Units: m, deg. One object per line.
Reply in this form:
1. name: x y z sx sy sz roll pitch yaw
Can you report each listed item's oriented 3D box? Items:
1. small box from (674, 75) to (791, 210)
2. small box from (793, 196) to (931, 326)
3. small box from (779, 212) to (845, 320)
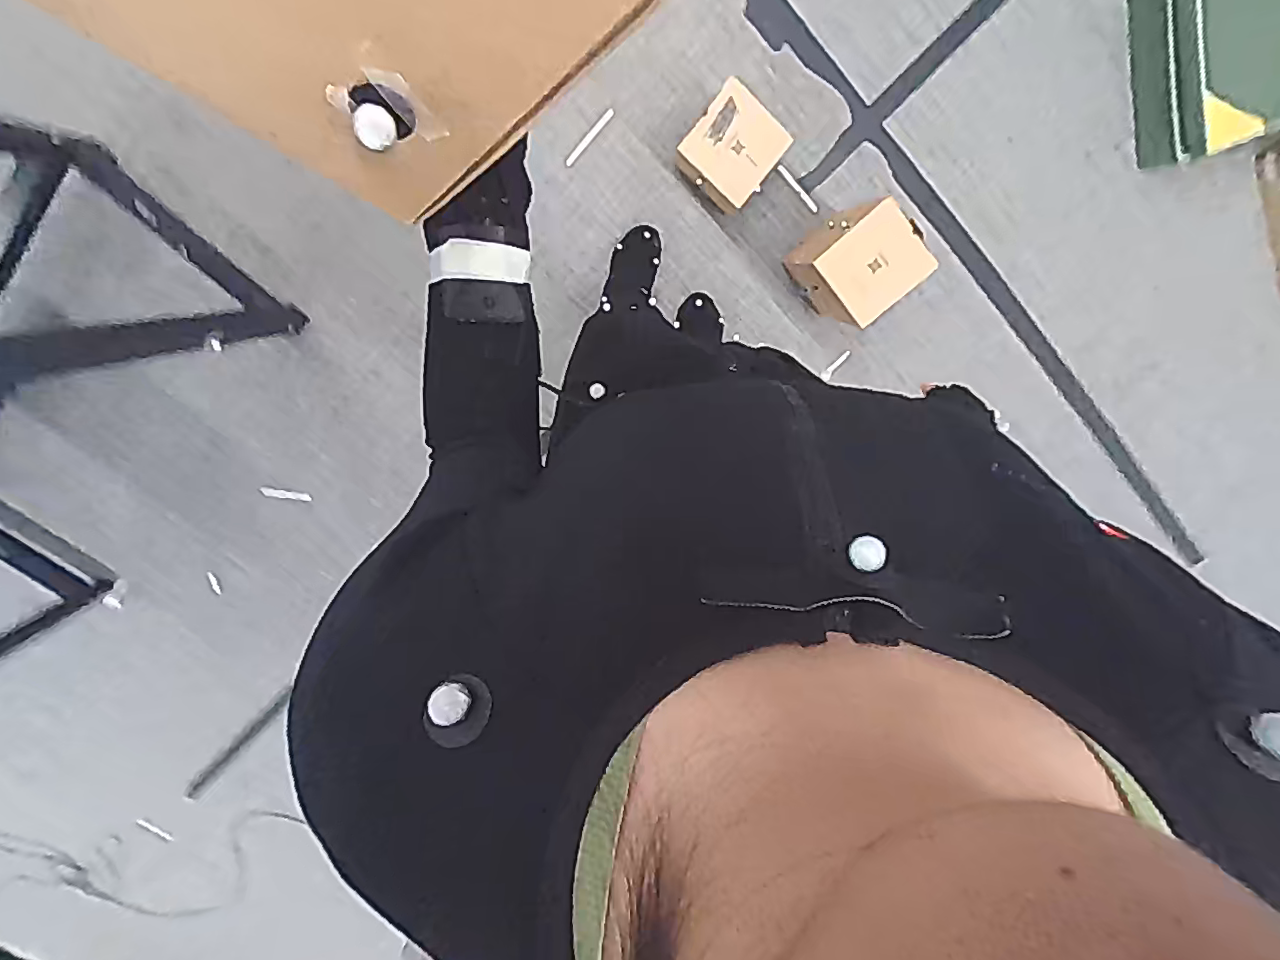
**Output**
1. small box: 0.189 -0.712 1.170 0.179 0.176 0.168 38 108 -14
2. small box: 0.440 -0.443 1.101 0.179 0.176 0.168 -39 106 16
3. small box: 0.451 -0.500 1.253 0.168 0.176 0.179 -39 108 14
